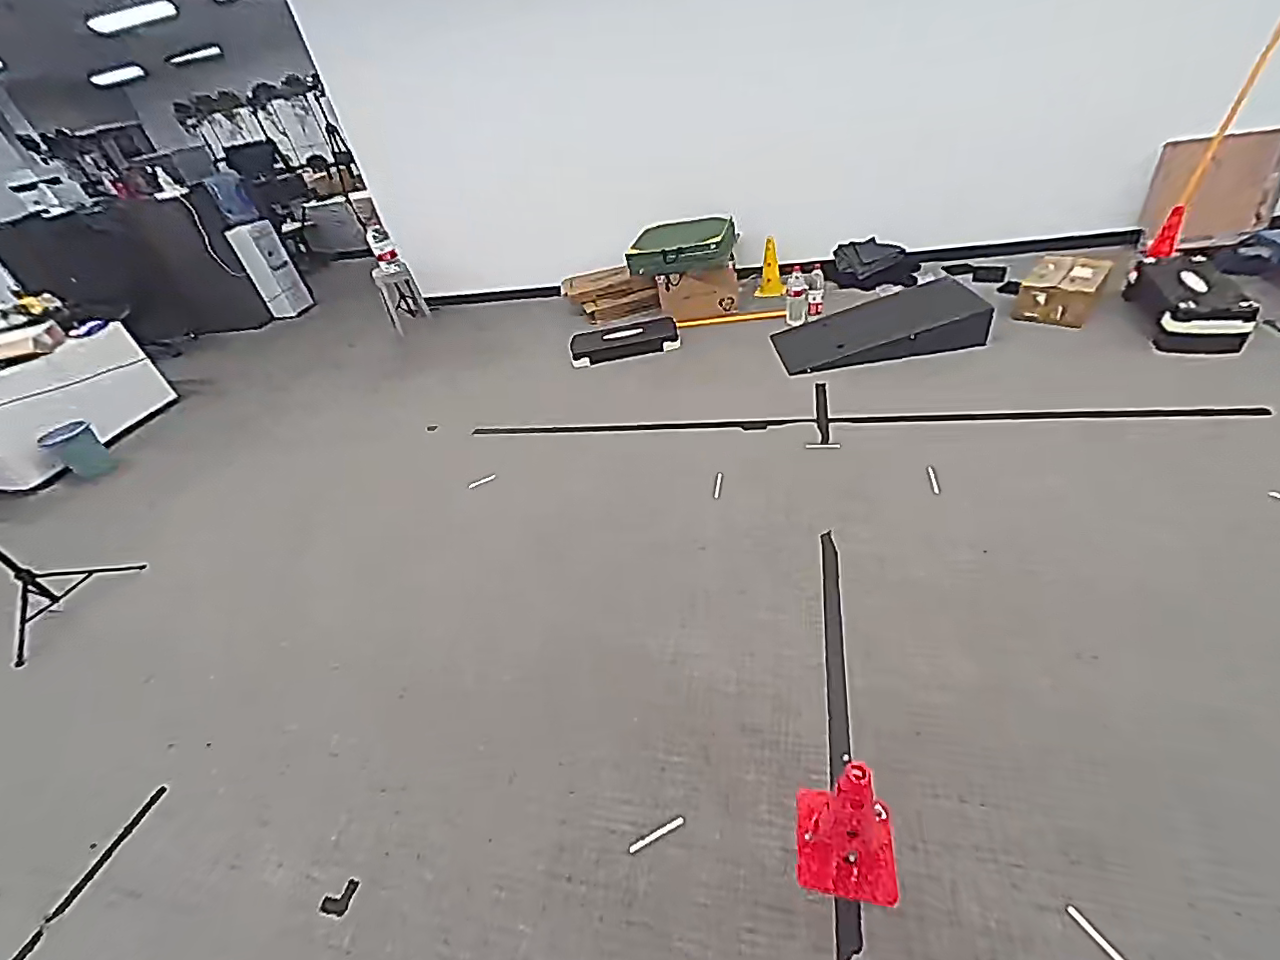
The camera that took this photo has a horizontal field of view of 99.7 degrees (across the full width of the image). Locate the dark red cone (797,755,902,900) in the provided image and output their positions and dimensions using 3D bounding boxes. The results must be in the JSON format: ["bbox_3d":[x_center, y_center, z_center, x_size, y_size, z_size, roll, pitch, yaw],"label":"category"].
[{"bbox_3d":[0.414,0.644,1.060,0.201,0.394,0.202,-1,39,16],"label":"dark red cone"}]
